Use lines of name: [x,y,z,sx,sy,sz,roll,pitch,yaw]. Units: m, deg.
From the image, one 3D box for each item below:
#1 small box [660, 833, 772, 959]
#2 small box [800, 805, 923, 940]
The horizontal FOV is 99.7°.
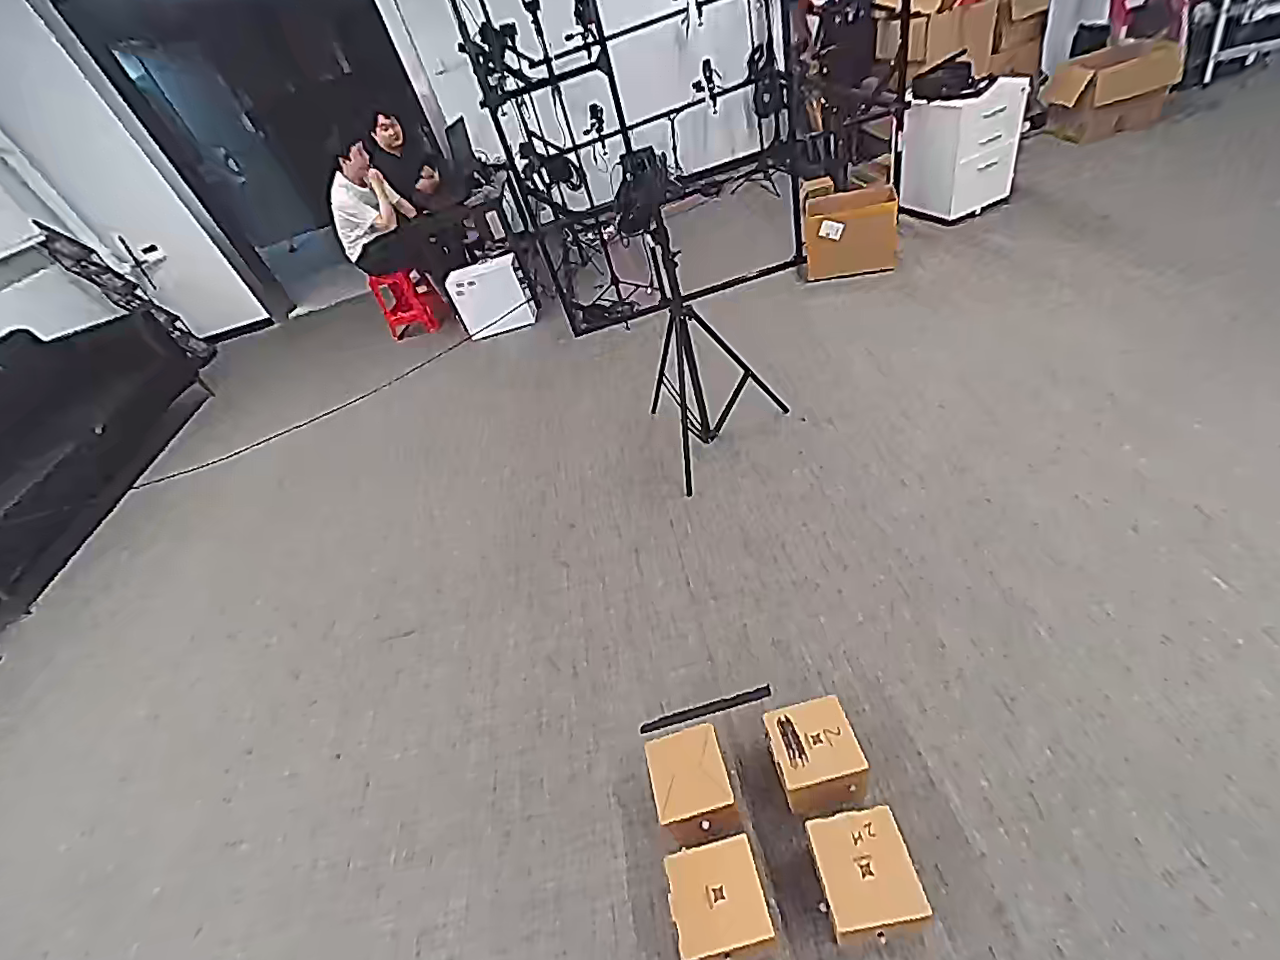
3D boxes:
small box: [0.155,0.838,1.076,0.179,0.176,0.168,-18,41,3]
small box: [0.422,0.766,1.050,0.168,0.176,0.179,-14,41,4]
